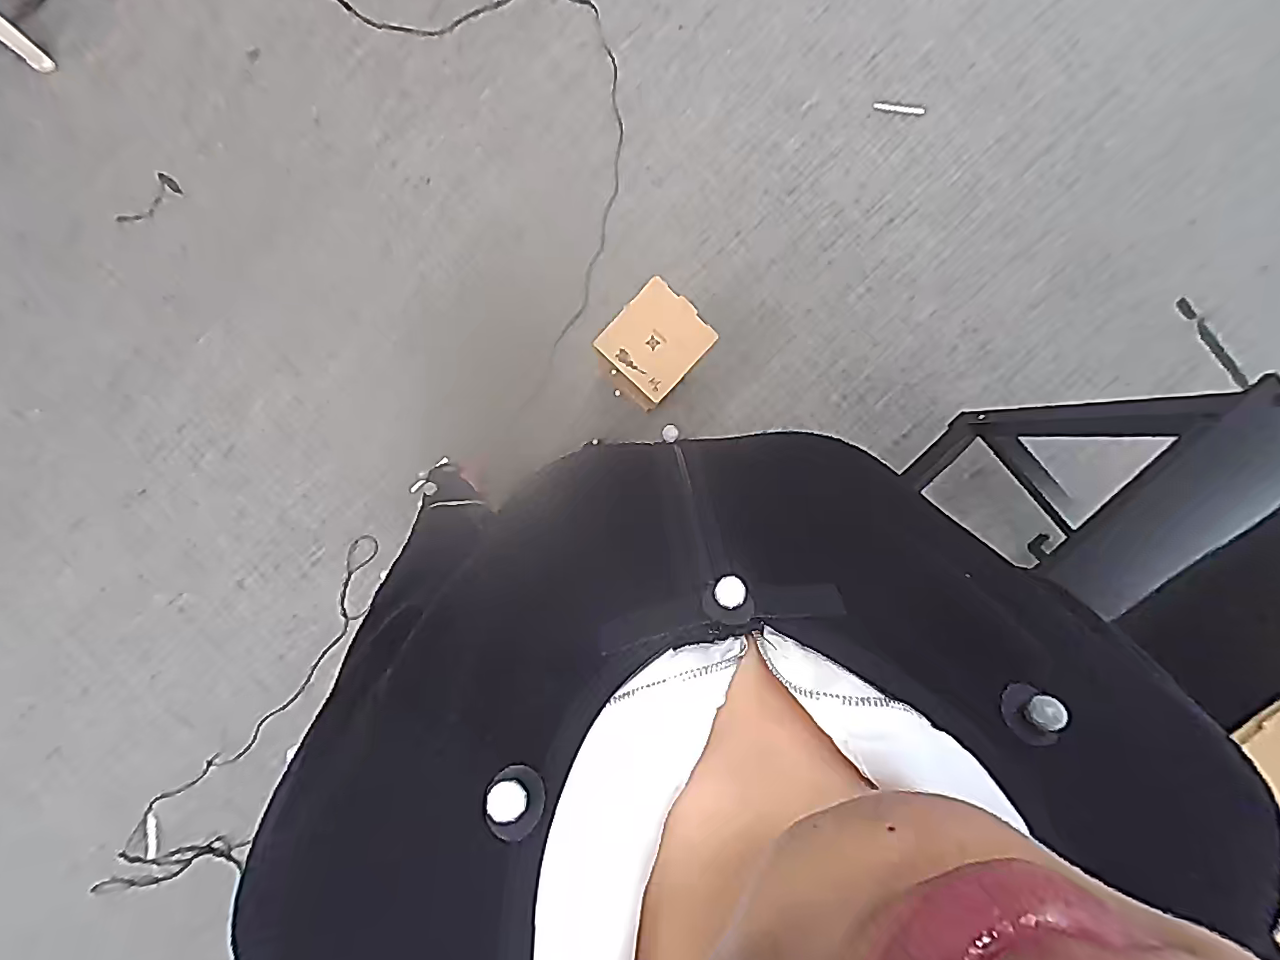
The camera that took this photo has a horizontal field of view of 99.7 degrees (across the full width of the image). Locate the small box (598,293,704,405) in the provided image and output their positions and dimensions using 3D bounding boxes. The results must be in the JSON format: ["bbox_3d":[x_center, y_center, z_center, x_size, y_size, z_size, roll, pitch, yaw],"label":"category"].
[{"bbox_3d":[0.022,-0.289,1.241,0.168,0.176,0.179,40,90,-5],"label":"small box"}]

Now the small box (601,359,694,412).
[{"bbox_3d":[0.015,-0.294,1.402,0.168,0.176,0.179,43,92,-4],"label":"small box"}]
